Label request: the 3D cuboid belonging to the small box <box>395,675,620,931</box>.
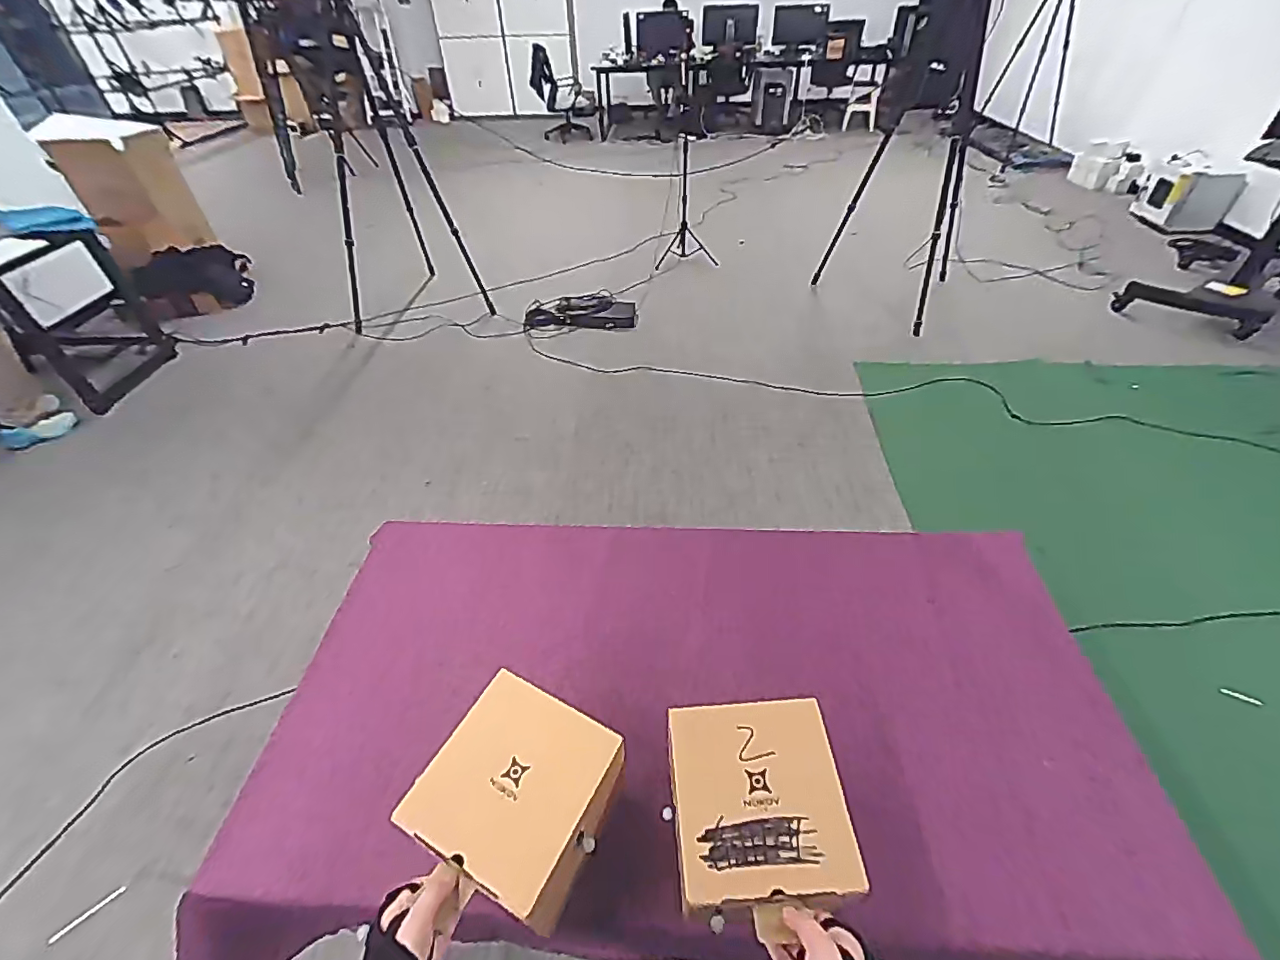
[{"bbox_3d":[-0.135,0.366,0.617,0.168,0.176,0.179,22,50,19],"label":"small box"}]
